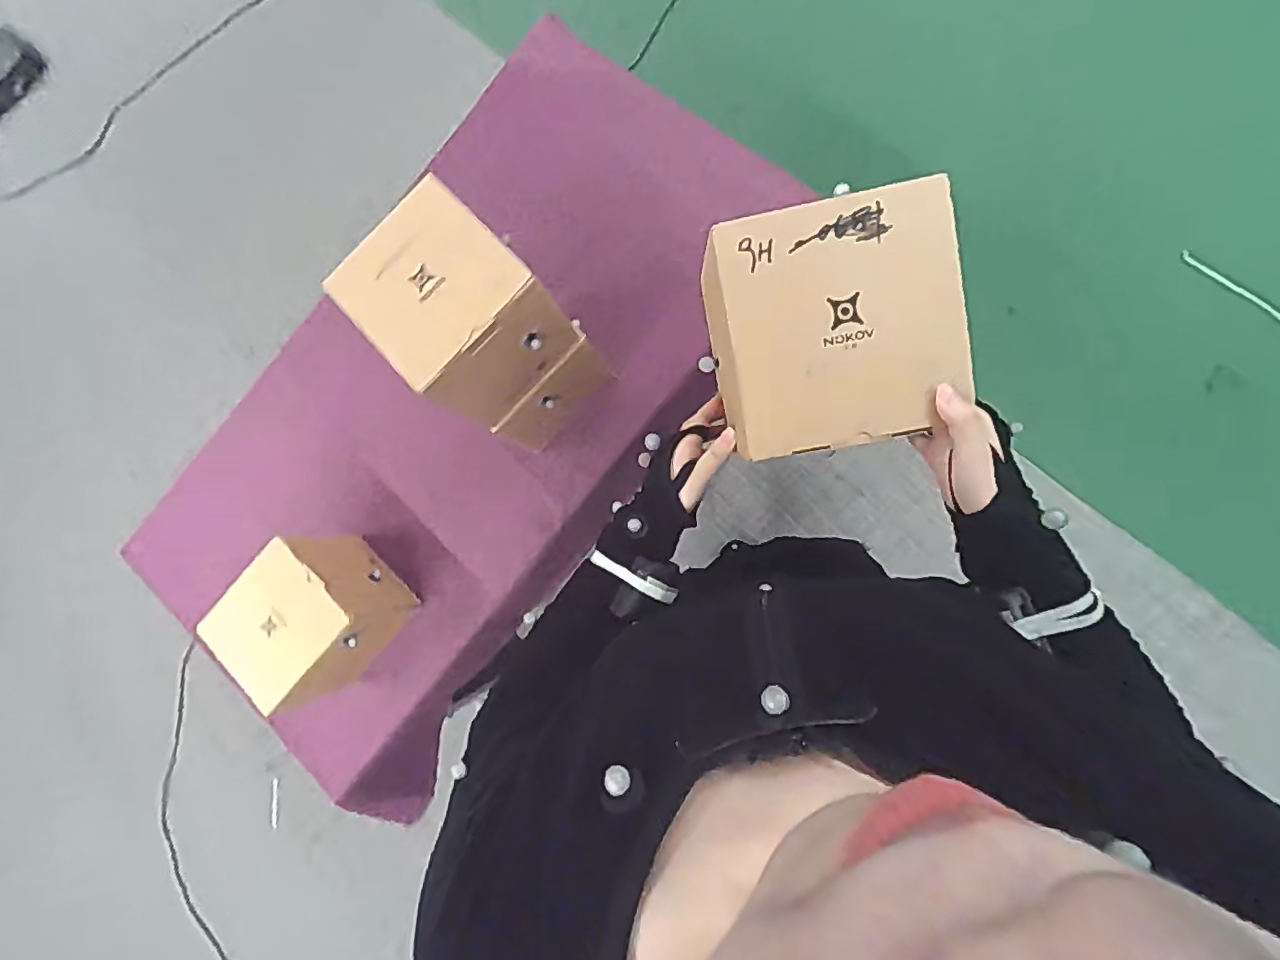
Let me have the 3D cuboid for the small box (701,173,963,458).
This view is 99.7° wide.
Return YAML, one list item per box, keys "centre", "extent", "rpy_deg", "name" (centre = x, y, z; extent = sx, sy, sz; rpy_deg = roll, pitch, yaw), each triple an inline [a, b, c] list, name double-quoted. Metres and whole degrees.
- centre: [0.147, -0.126, 0.467]
  extent: [0.168, 0.176, 0.179]
  rpy_deg: [-10, 97, 6]
  name: "small box"

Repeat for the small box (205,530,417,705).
- centre: [-0.476, 0.194, 0.808]
  extent: [0.168, 0.176, 0.179]
  rpy_deg: [41, 91, 12]
  name: "small box"

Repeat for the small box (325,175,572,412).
- centre: [-0.207, -0.198, 0.633]
  extent: [0.168, 0.176, 0.179]
  rpy_deg: [-44, 78, 3]
  name: "small box"

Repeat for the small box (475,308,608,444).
- centre: [-0.172, -0.174, 0.790]
  extent: [0.179, 0.176, 0.168]
  rpy_deg: [-45, 79, 3]
  name: "small box"
